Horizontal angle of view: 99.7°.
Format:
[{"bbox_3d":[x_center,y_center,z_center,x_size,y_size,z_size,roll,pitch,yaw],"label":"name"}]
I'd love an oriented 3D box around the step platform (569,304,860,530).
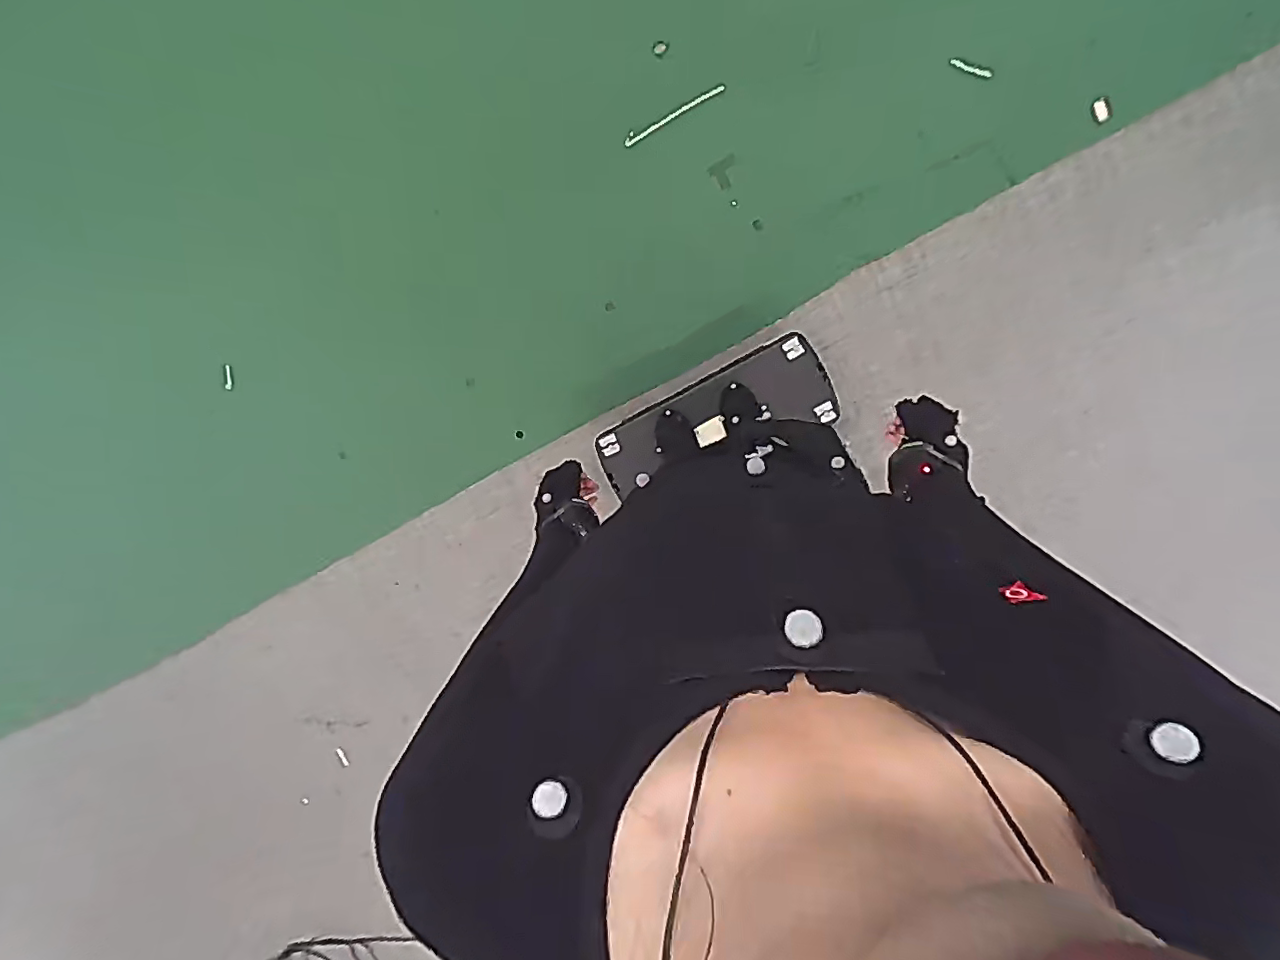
[{"bbox_3d":[0.172,-0.154,1.358,0.684,0.204,0.286,-28,96,8],"label":"step platform"}]
